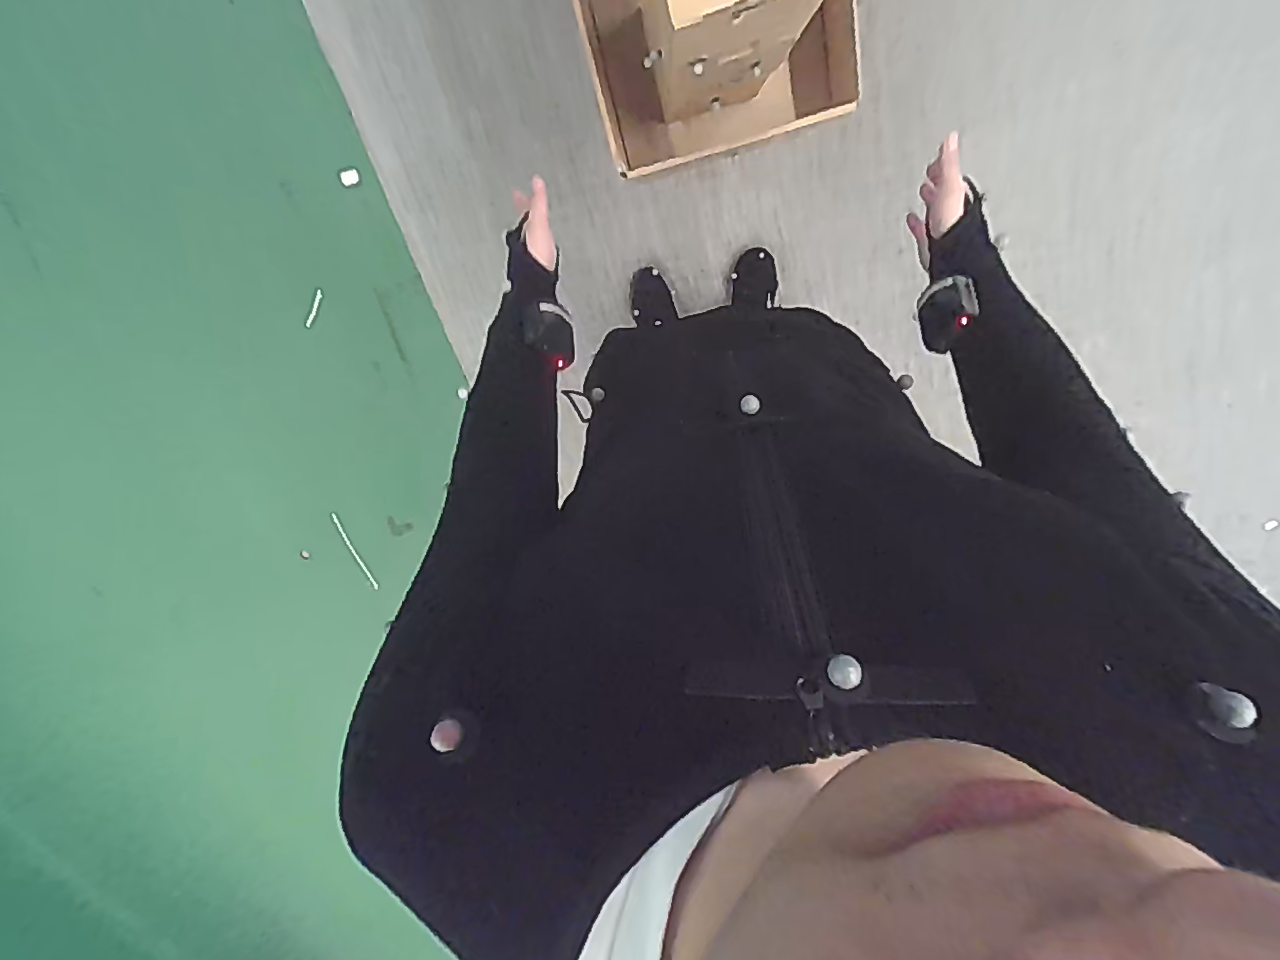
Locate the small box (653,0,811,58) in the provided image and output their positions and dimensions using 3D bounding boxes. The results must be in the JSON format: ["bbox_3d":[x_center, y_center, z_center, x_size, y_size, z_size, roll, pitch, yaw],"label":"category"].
[{"bbox_3d":[0.089,-0.564,0.546,0.168,0.176,0.179,-13,112,8],"label":"small box"}]

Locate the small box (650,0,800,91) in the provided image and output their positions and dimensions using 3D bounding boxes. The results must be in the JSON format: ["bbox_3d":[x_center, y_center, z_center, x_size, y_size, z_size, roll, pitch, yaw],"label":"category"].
[{"bbox_3d":[0.098,-0.631,0.696,0.168,0.176,0.179,-12,113,8],"label":"small box"}]
